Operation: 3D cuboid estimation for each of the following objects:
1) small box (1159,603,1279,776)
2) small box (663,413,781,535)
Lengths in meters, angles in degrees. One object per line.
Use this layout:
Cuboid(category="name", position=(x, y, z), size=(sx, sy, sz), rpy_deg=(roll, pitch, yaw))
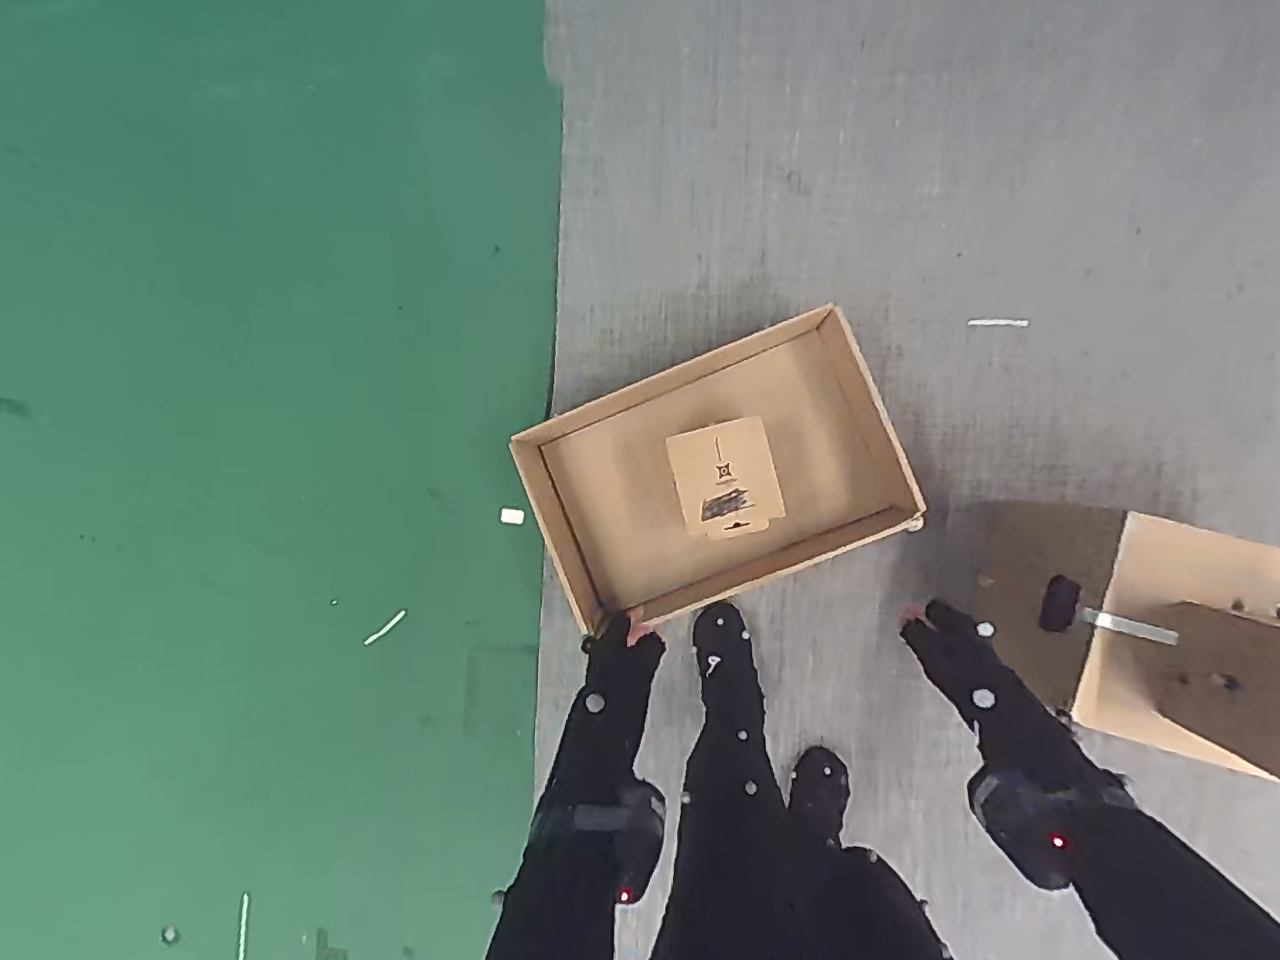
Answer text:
Cuboid(category="small box", position=(0.797, 0.258, 0.655), size=(0.179, 0.176, 0.168), rpy_deg=(10, 93, 5))
Cuboid(category="small box", position=(0.146, -0.011, 0.973), size=(0.168, 0.176, 0.179), rpy_deg=(-14, 88, 6))
